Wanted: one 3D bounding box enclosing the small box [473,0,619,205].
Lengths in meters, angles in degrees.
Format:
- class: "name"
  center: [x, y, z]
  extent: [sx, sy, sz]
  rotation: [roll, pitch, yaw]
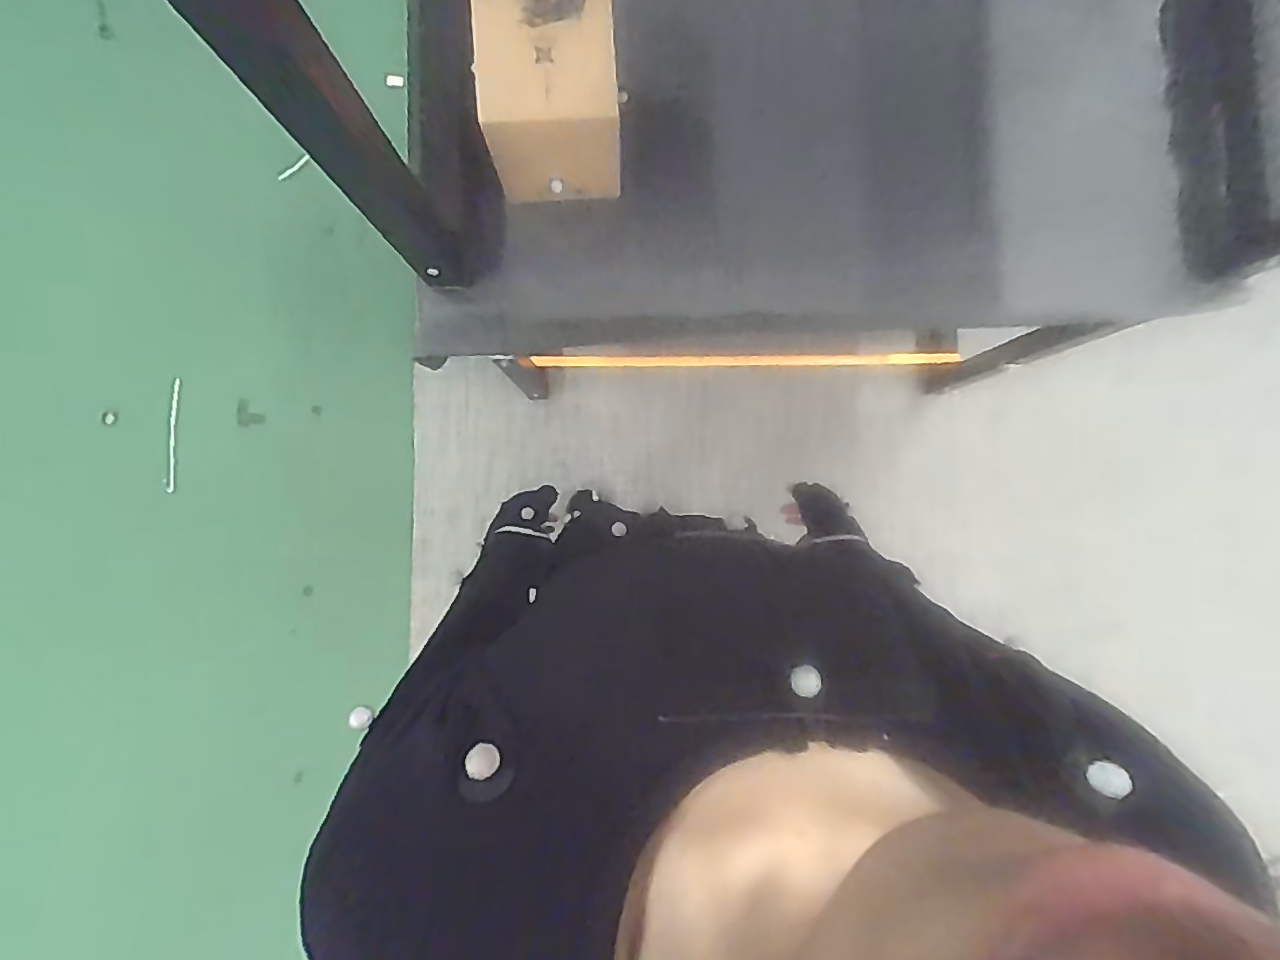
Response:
- class: "small box"
  center: [-0.114, -0.493, 0.712]
  extent: [0.168, 0.176, 0.179]
  rotation: [-4, 87, -1]
